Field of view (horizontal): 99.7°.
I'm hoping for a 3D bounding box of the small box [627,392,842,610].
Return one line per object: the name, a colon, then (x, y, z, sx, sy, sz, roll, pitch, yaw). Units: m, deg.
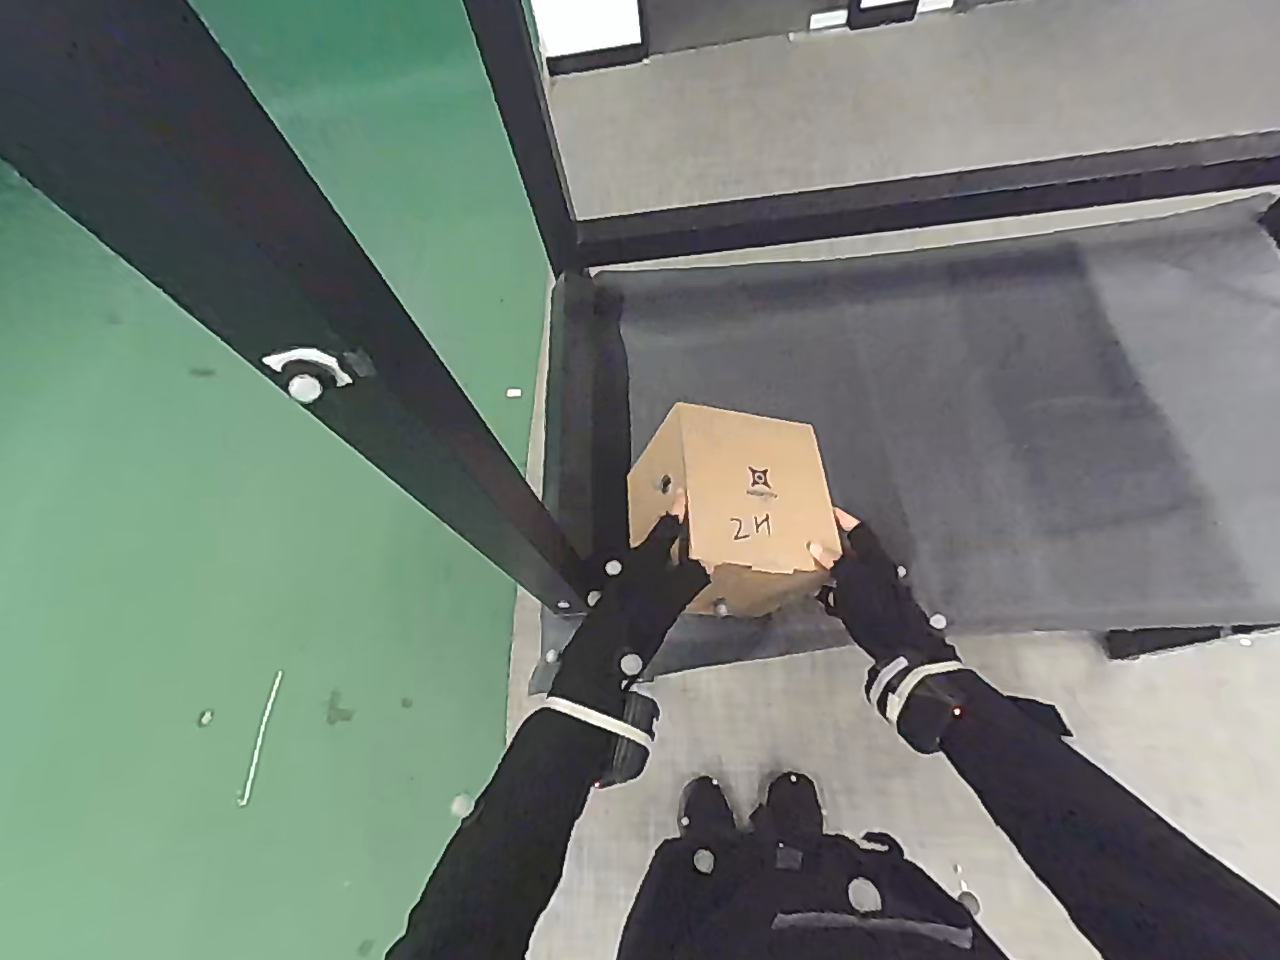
small box: (0.088, 0.033, 0.601, 0.168, 0.176, 0.179, 8, 60, -18)
